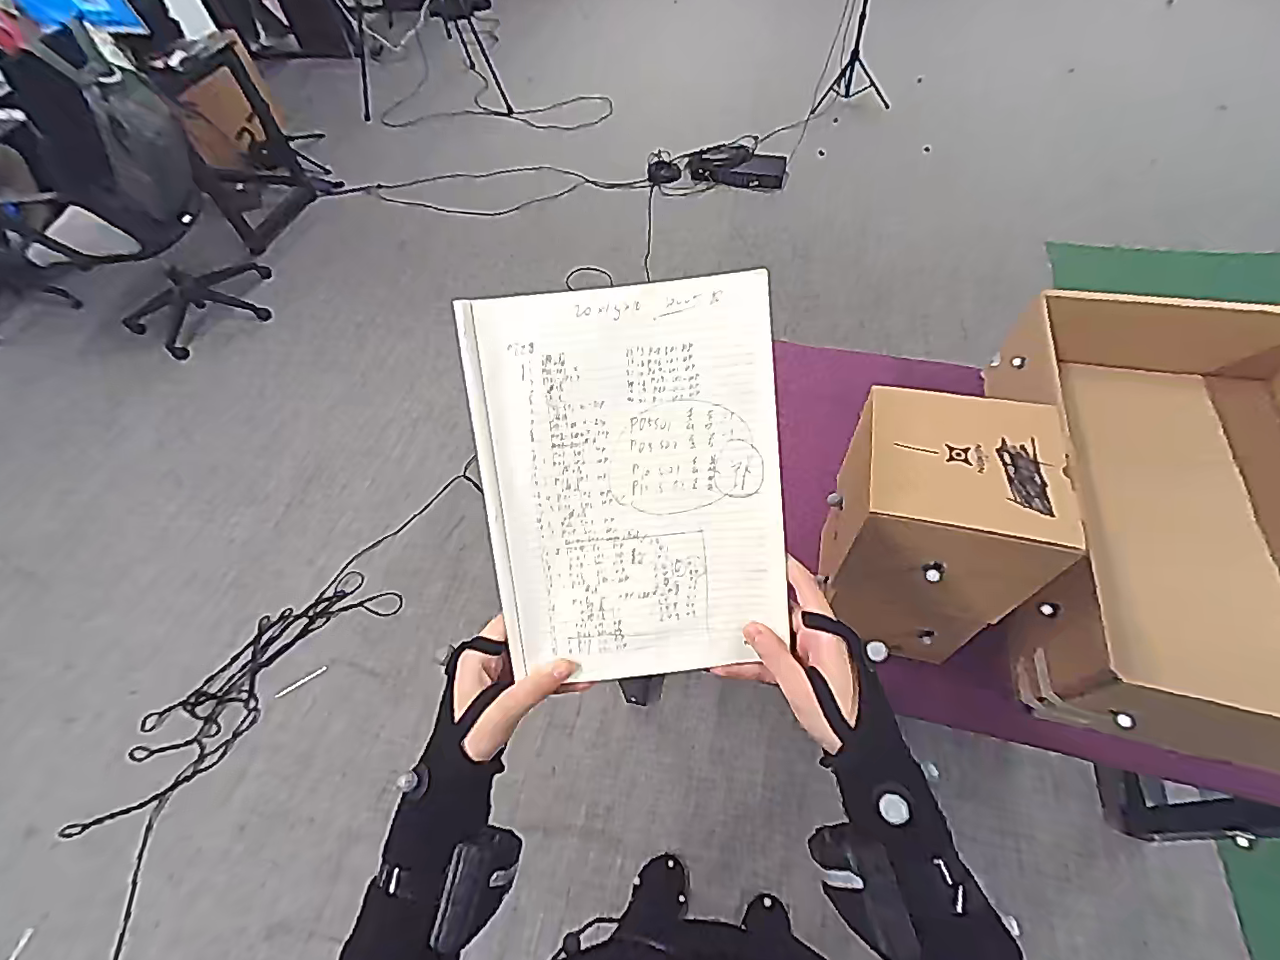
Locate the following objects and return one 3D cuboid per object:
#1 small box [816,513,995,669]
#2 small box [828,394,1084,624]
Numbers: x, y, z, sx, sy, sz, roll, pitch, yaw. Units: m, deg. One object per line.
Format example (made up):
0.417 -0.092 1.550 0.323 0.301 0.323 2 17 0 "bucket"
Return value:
0.334 0.126 0.709 0.168 0.176 0.179 10 55 12 "small box"
0.313 0.036 0.573 0.179 0.176 0.168 10 55 13 "small box"
